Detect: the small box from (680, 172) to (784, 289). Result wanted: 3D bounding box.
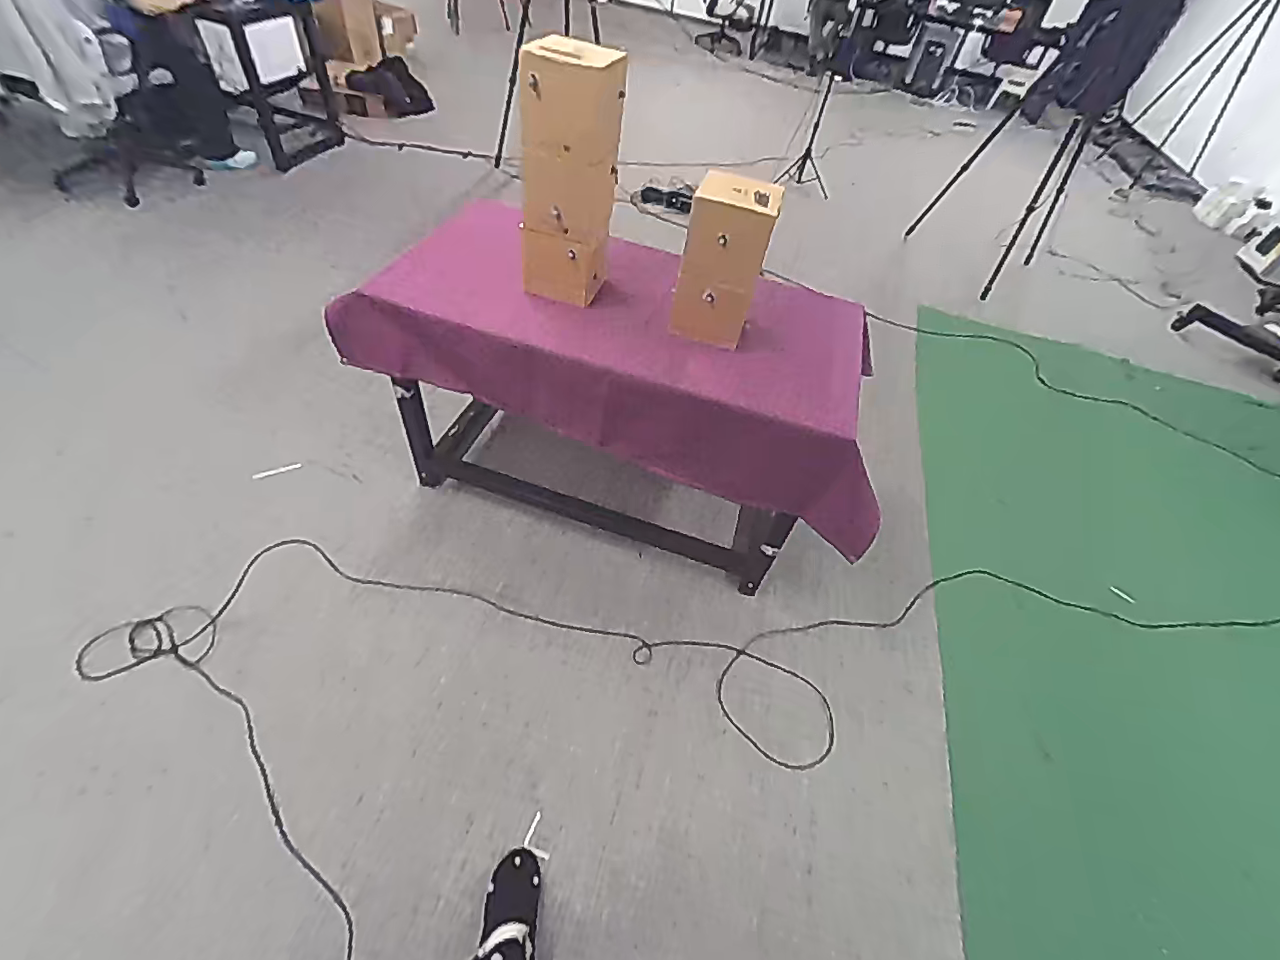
[{"bbox_3d":[0.202,-0.549,1.200,0.179,0.176,0.168,17,49,6],"label":"small box"}]

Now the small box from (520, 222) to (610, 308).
[{"bbox_3d":[-0.188,-0.561,1.367,0.179,0.176,0.168,17,49,4],"label":"small box"}]

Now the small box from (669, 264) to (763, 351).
[{"bbox_3d":[0.182,-0.441,1.322,0.179,0.176,0.168,18,49,6],"label":"small box"}]

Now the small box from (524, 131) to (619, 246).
[{"bbox_3d":[-0.159,-0.669,1.246,0.168,0.176,0.179,16,48,5],"label":"small box"}]
